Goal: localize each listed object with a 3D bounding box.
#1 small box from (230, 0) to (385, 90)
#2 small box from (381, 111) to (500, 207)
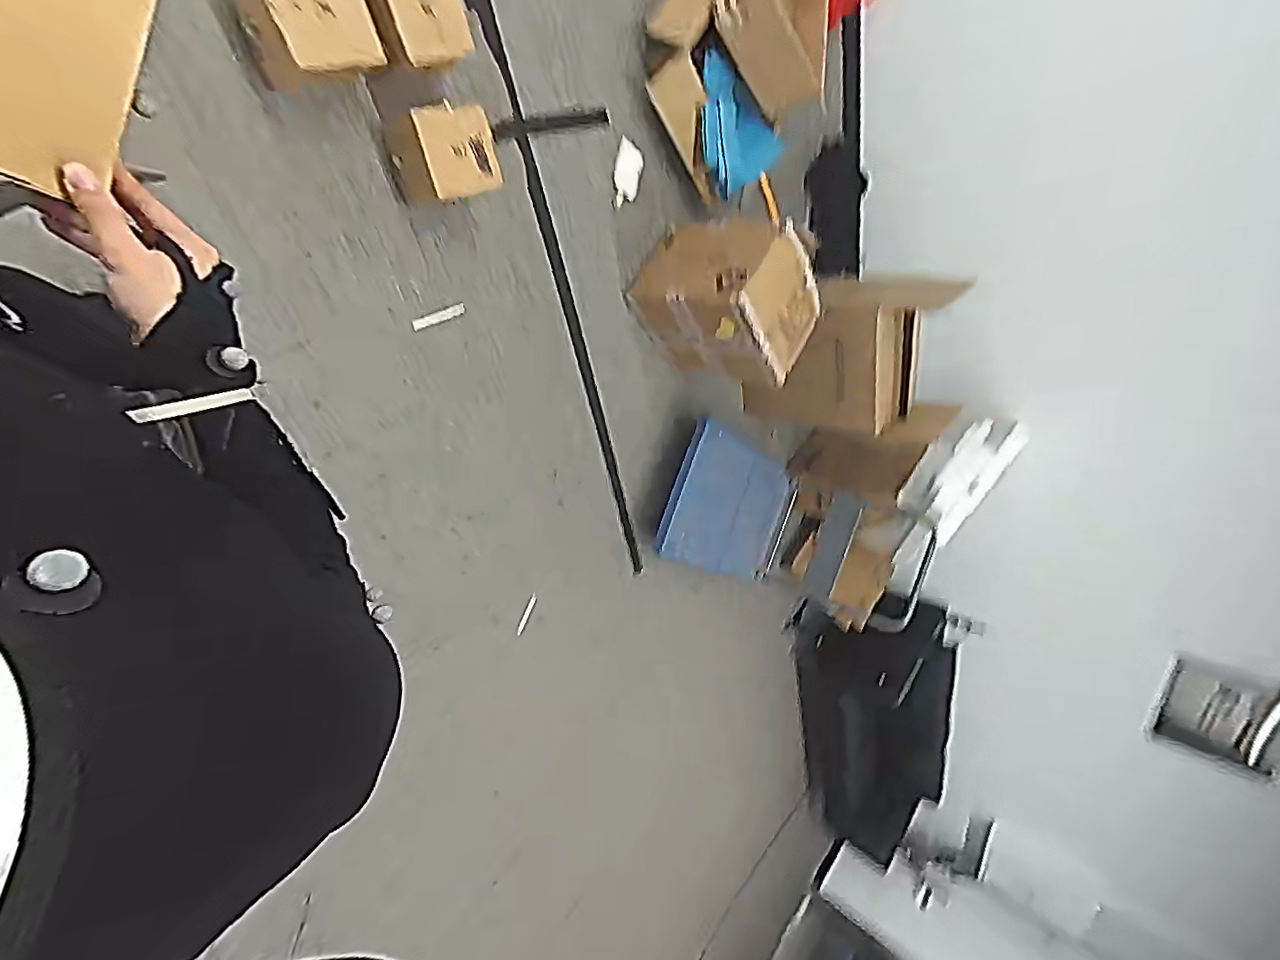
[{"bbox_3d":[-0.628,-0.857,1.019,0.179,0.176,0.168,-37,128,-34],"label":"small box"},{"bbox_3d":[-0.460,-0.739,1.250,0.179,0.176,0.168,-33,126,-35],"label":"small box"}]
